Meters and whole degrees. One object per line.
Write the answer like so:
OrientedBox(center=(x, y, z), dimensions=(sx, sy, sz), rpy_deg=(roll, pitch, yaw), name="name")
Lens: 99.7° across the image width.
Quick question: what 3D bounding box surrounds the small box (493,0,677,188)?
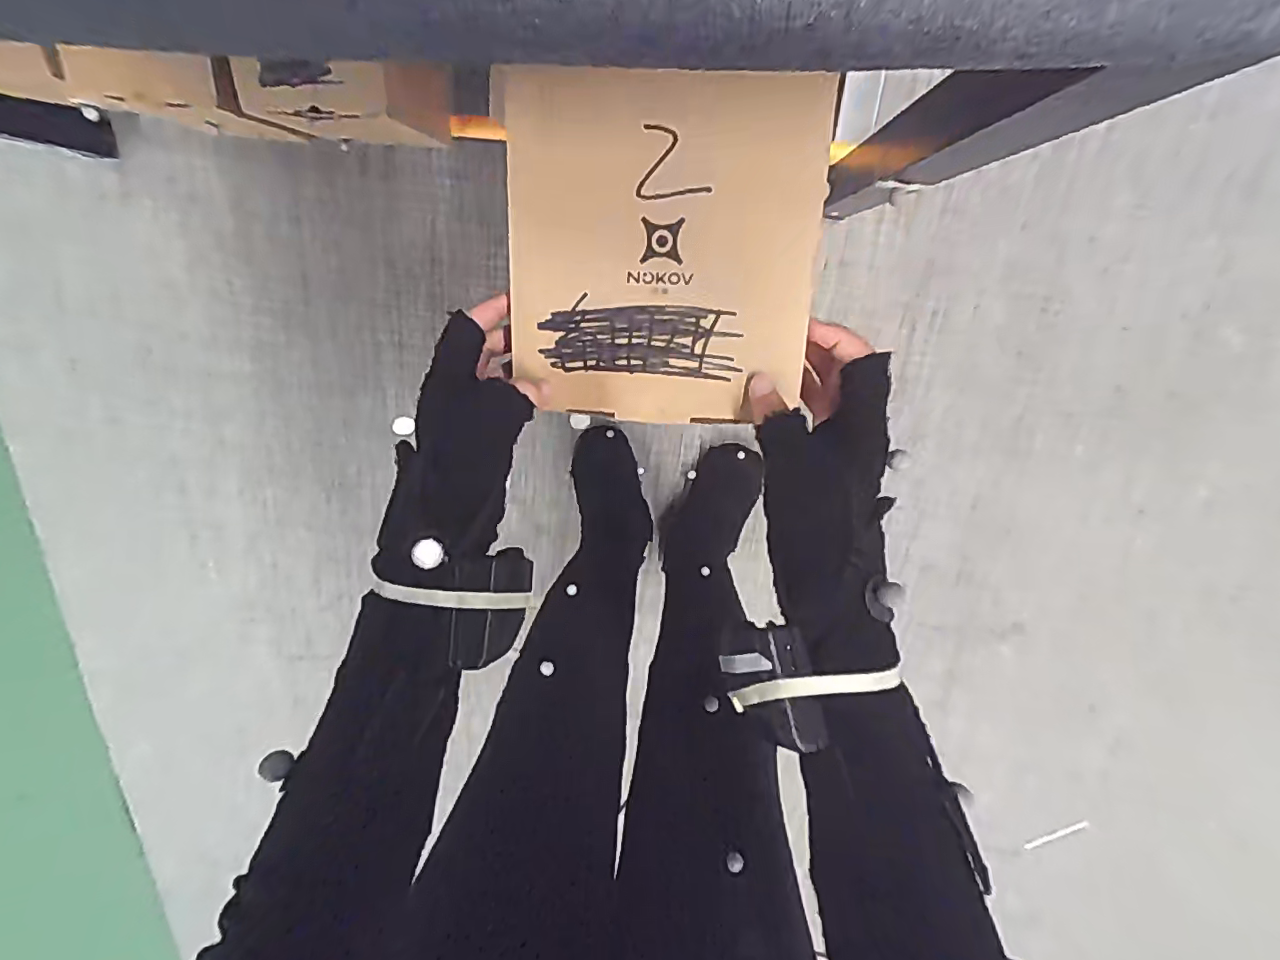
OrientedBox(center=(-0.053, -0.448, 0.609), dimensions=(0.168, 0.176, 0.179), rpy_deg=(11, 112, 2), name="small box")
